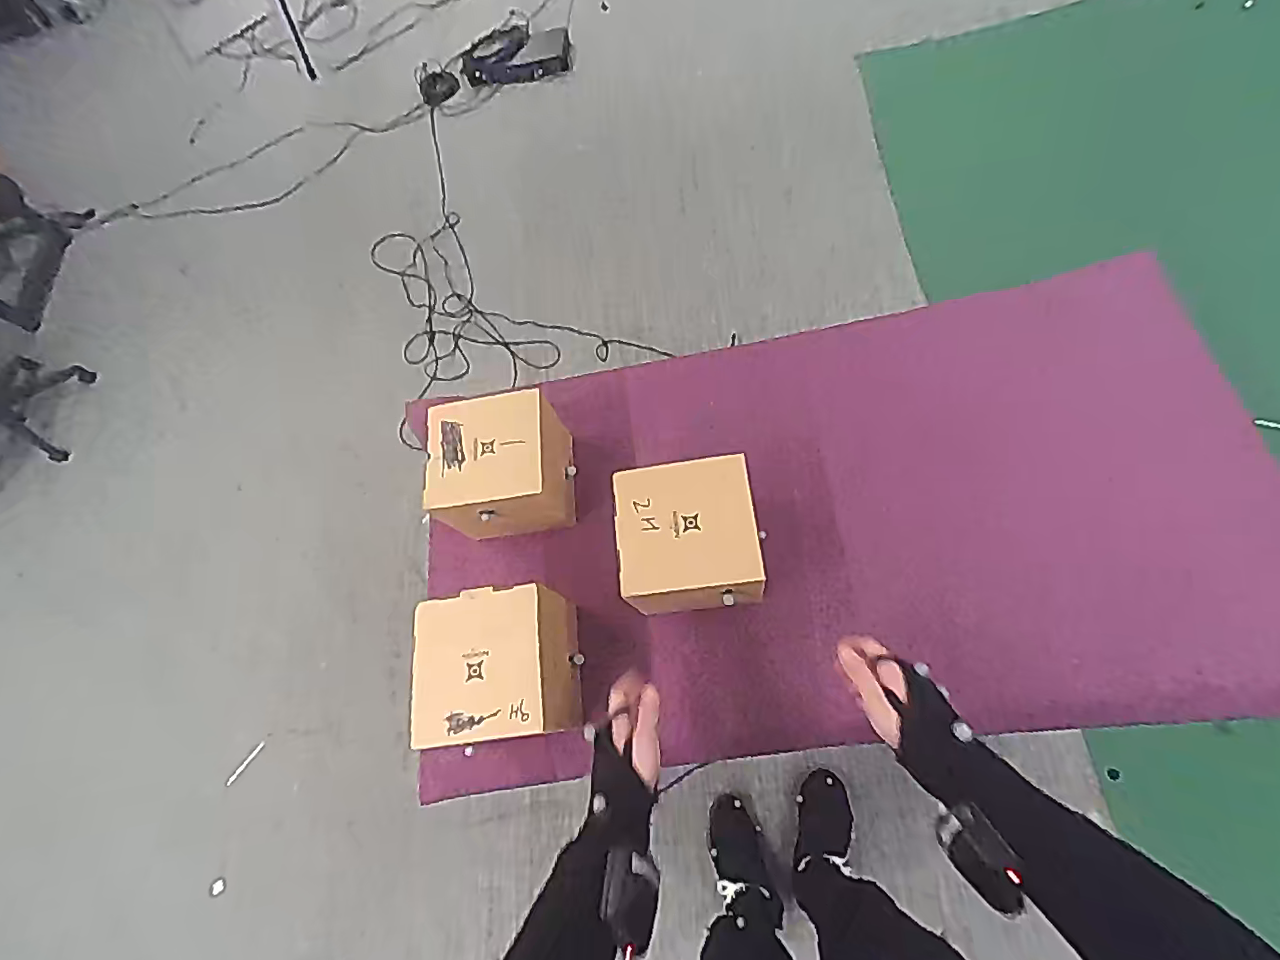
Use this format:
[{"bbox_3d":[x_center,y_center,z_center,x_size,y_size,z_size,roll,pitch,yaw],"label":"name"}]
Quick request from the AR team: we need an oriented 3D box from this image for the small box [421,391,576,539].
[{"bbox_3d":[-0.208,-0.014,0.830,0.179,0.176,0.168,-8,68,7],"label":"small box"}]

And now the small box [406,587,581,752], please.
[{"bbox_3d":[-0.183,0.255,0.719,0.168,0.176,0.179,-10,66,8],"label":"small box"}]
